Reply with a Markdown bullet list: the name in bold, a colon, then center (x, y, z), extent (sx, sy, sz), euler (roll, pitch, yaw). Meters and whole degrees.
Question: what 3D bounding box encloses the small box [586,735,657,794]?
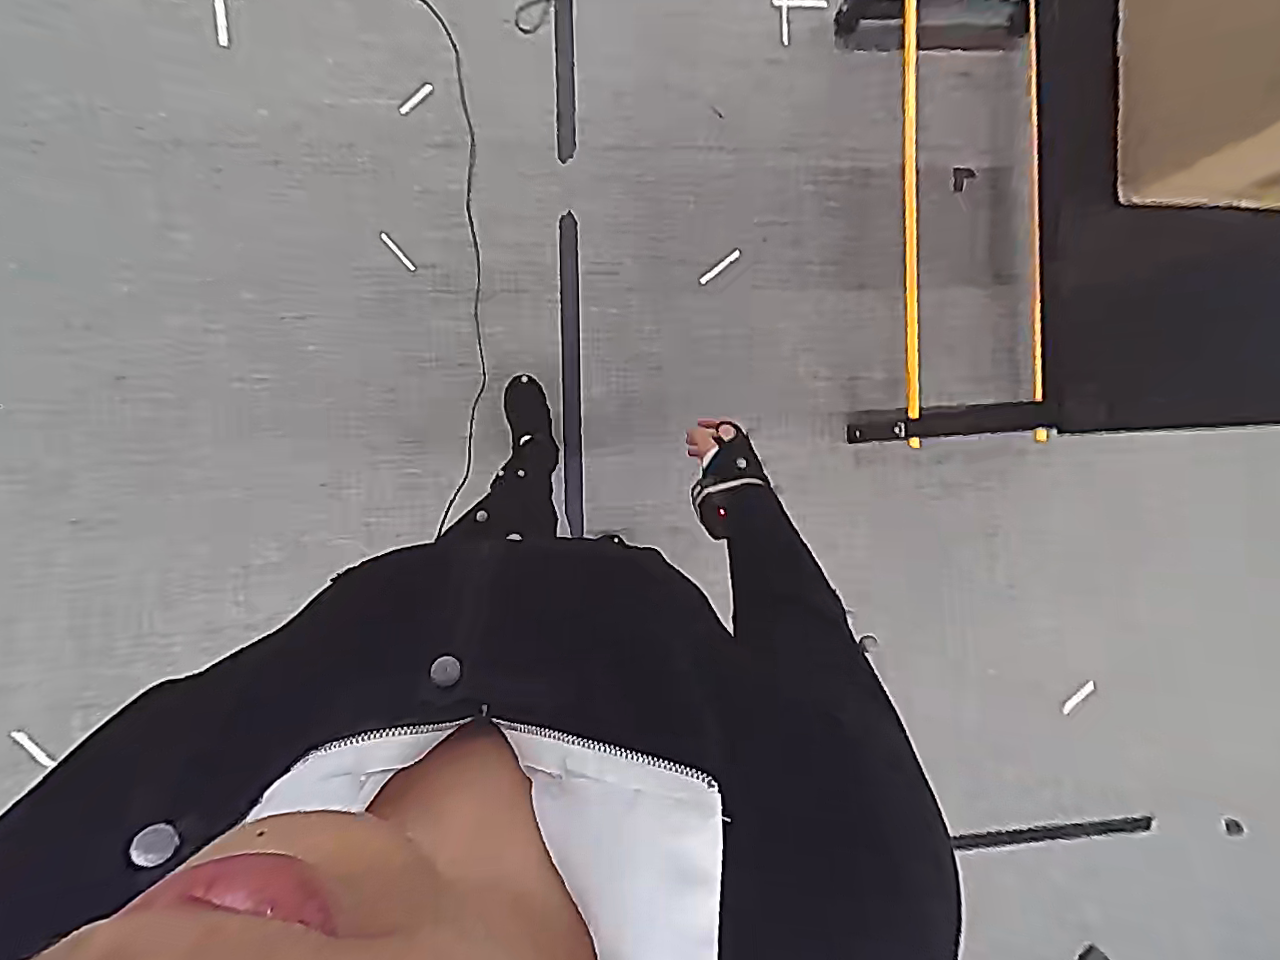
- **small box**: center (-0.054, 0.798, 1.439), extent (0.179, 0.176, 0.168), euler (2, 92, -5)
